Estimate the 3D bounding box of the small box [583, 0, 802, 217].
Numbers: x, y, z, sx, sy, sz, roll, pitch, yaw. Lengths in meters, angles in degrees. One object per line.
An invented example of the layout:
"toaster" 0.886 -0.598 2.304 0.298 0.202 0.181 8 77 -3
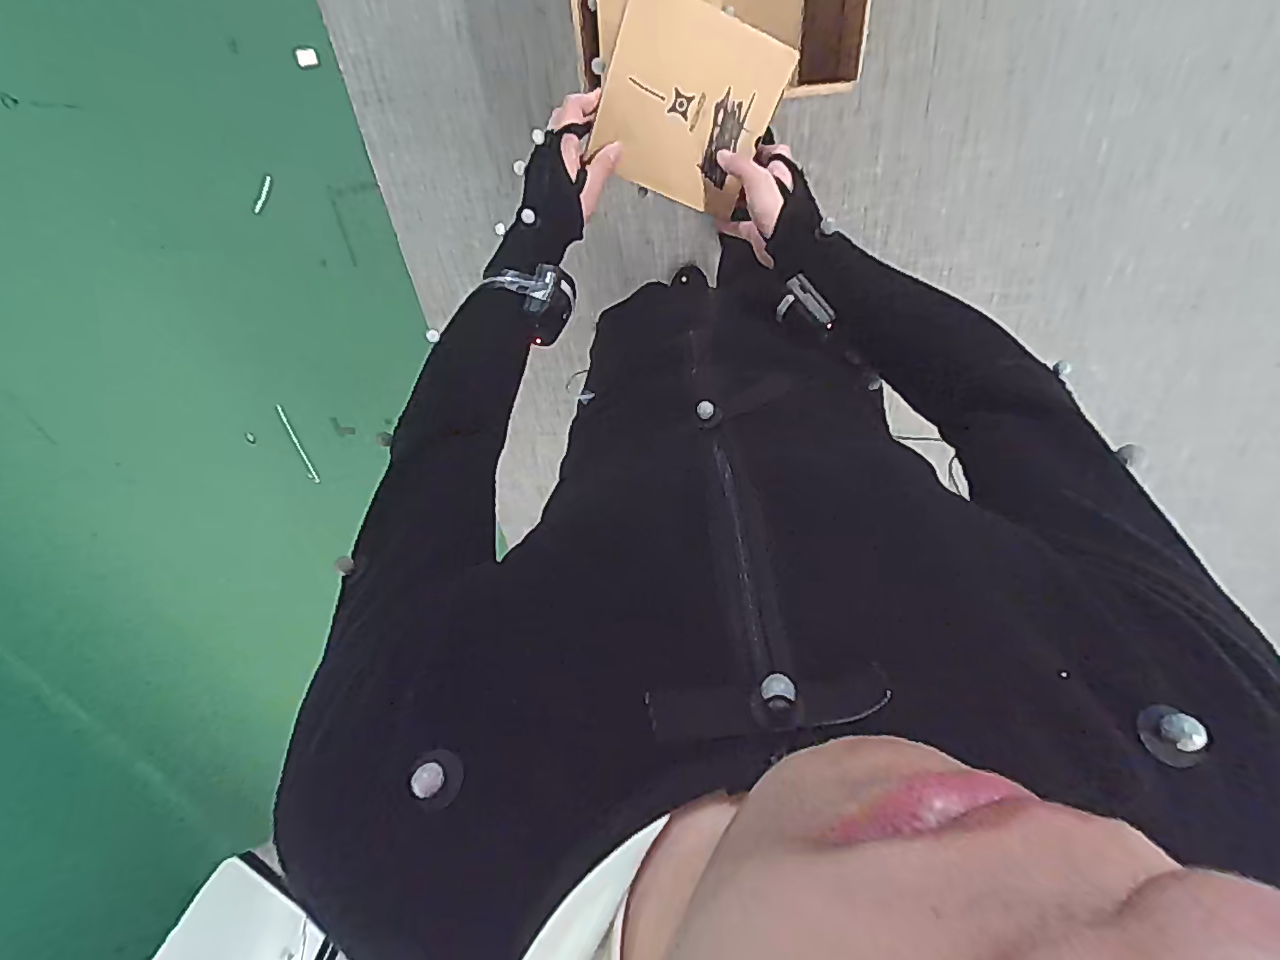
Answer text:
"small box" 0.045 -0.425 0.606 0.179 0.176 0.168 16 122 -15
